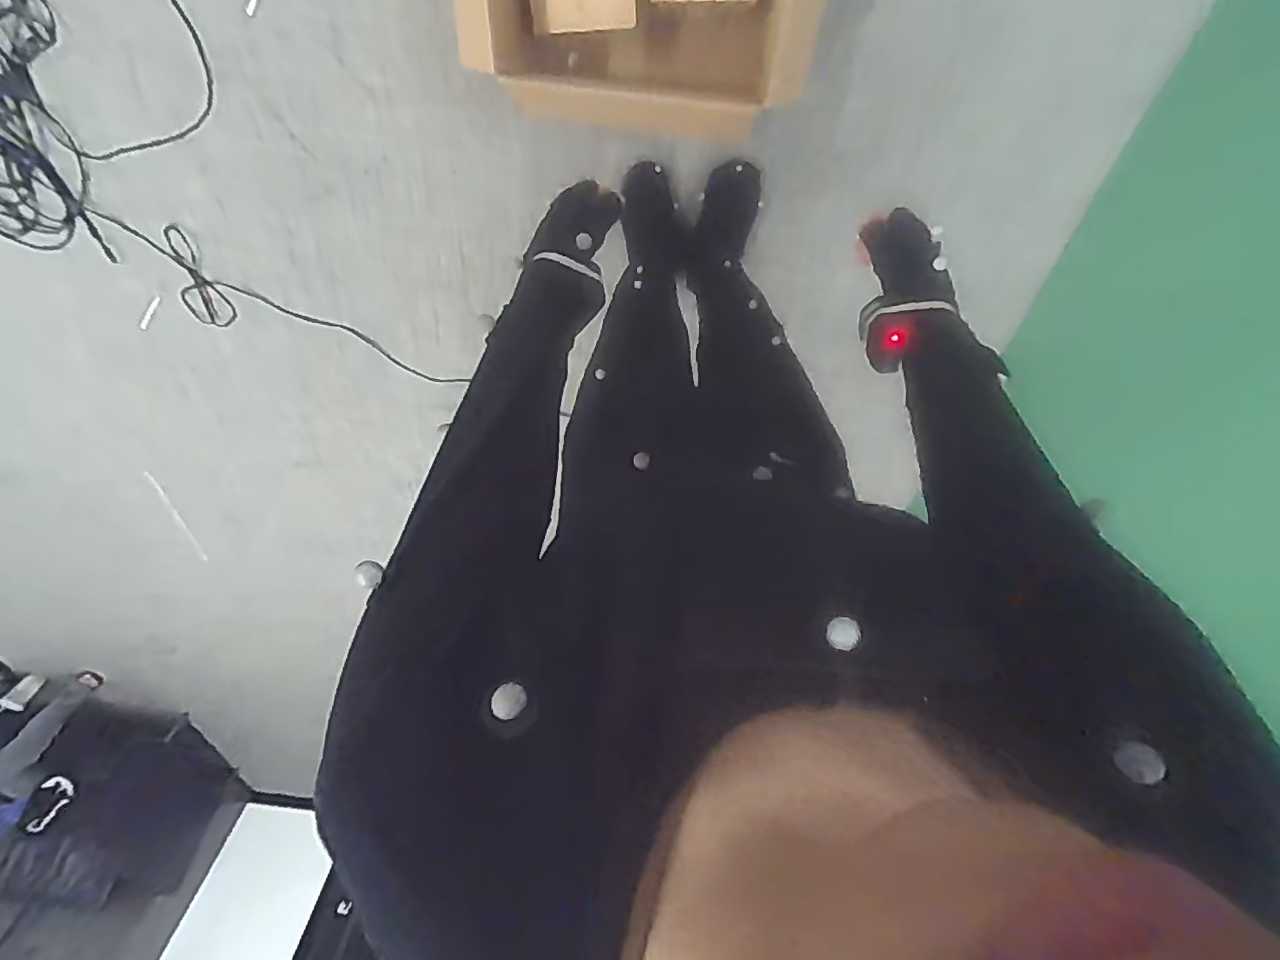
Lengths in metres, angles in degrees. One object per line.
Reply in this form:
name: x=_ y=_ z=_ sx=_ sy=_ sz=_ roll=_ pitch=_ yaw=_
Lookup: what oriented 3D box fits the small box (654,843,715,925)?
small box: x=0.138 y=1.261 z=1.691 sx=0.168 sy=0.176 sz=0.179 roll=7 pitch=132 yaw=1
